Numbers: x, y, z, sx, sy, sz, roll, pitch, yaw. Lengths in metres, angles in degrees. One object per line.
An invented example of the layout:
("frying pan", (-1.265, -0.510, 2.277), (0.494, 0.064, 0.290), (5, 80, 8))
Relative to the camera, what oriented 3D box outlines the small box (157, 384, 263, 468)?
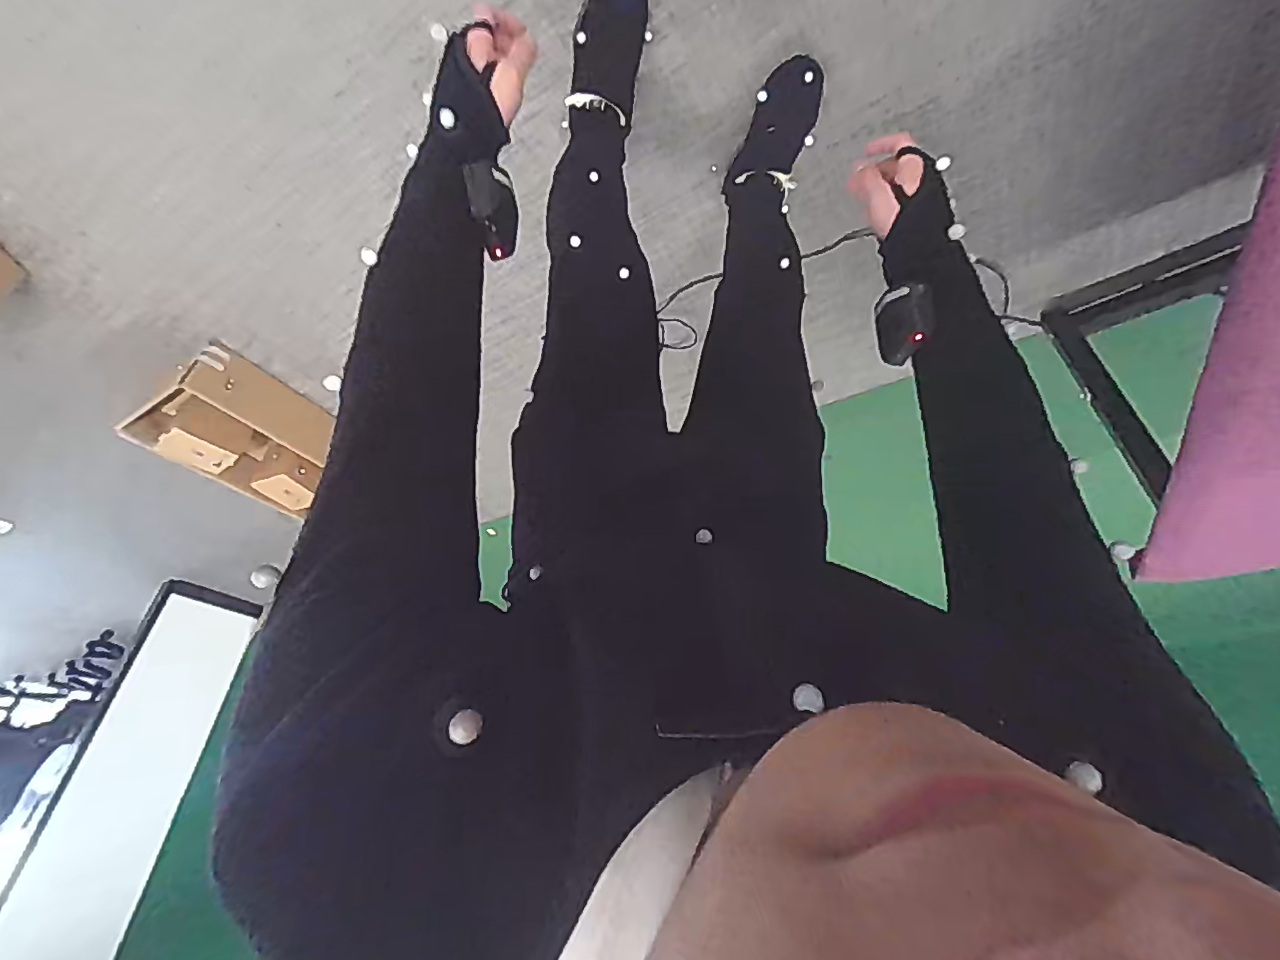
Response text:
("small box", (-1.313, -0.172, 1.661), (0.168, 0.176, 0.179), (-22, 140, 29))
